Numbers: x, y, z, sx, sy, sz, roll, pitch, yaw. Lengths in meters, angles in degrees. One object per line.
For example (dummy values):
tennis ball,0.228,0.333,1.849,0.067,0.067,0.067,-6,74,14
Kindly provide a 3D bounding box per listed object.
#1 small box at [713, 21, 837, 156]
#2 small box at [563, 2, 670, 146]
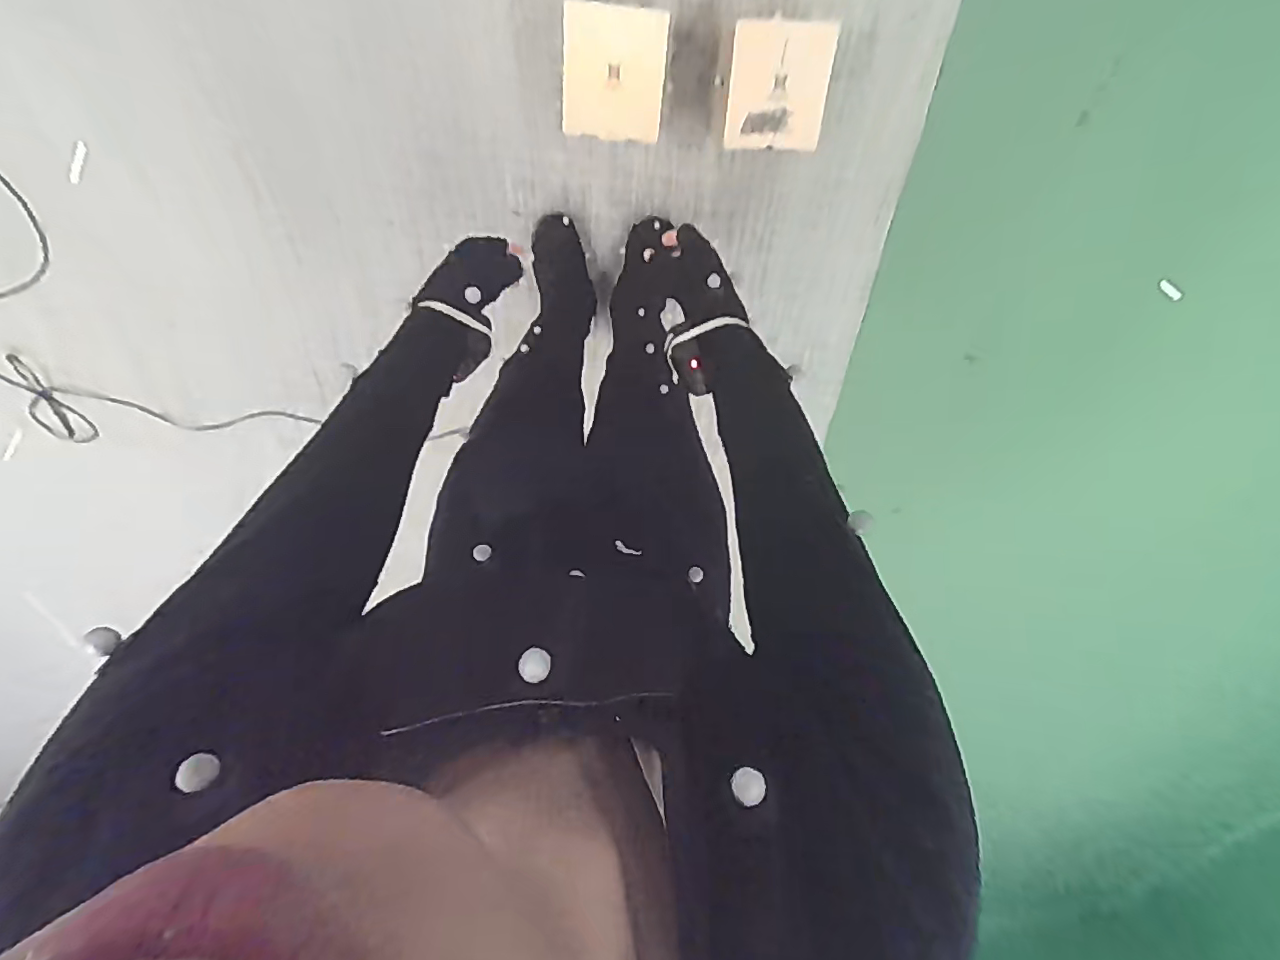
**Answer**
small box,0.224,-0.686,0.953,0.168,0.176,0.179,1,126,-2
small box,-0.044,-0.700,0.942,0.168,0.176,0.179,4,127,-4
